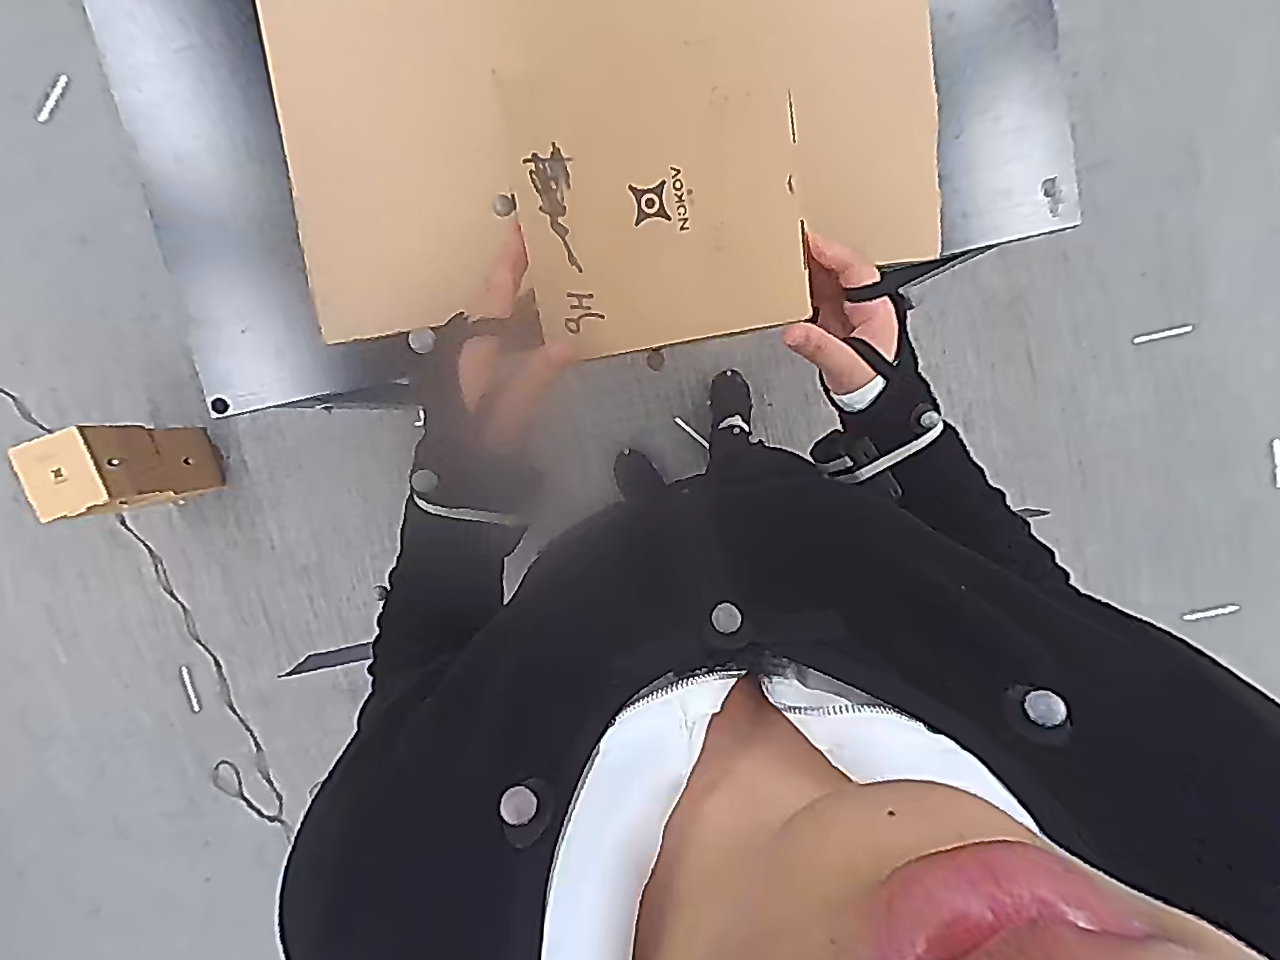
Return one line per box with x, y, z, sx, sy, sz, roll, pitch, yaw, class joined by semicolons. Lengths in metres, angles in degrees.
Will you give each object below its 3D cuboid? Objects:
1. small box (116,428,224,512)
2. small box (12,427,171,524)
-1.249;-0.031;1.414;0.168;0.176;0.179;-16;97;2;small box
-1.251;-0.019;1.251;0.168;0.176;0.179;-19;95;2;small box
